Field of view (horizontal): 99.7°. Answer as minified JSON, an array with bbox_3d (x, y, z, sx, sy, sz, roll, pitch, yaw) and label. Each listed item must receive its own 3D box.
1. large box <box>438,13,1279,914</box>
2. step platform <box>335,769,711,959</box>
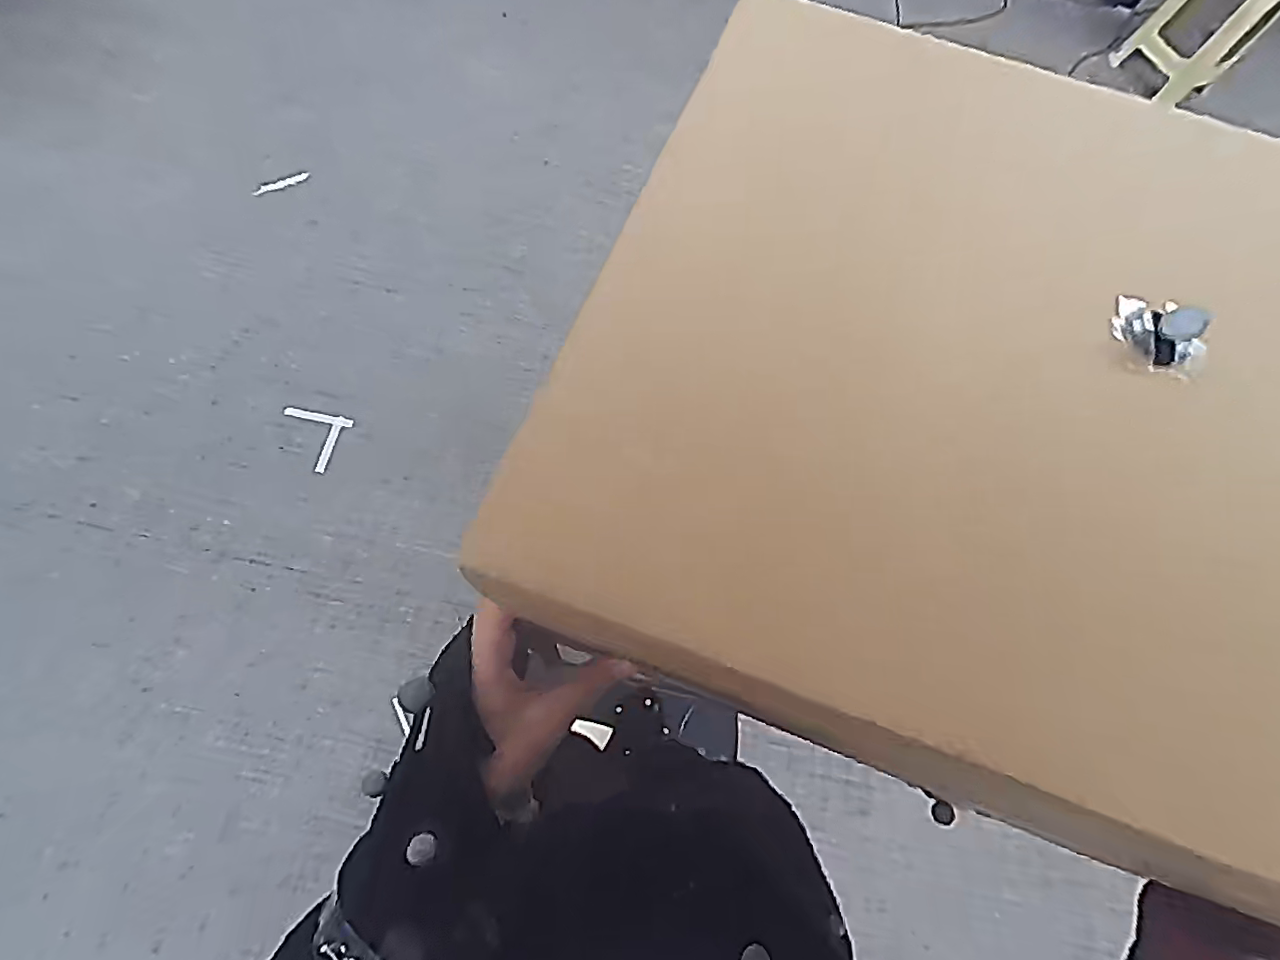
[{"bbox_3d":[0.166,0.005,0.338,0.408,0.320,0.320,19,71,5],"label":"large box"},{"bbox_3d":[-0.208,0.824,1.061,0.684,0.204,0.286,18,70,1],"label":"step platform"}]
